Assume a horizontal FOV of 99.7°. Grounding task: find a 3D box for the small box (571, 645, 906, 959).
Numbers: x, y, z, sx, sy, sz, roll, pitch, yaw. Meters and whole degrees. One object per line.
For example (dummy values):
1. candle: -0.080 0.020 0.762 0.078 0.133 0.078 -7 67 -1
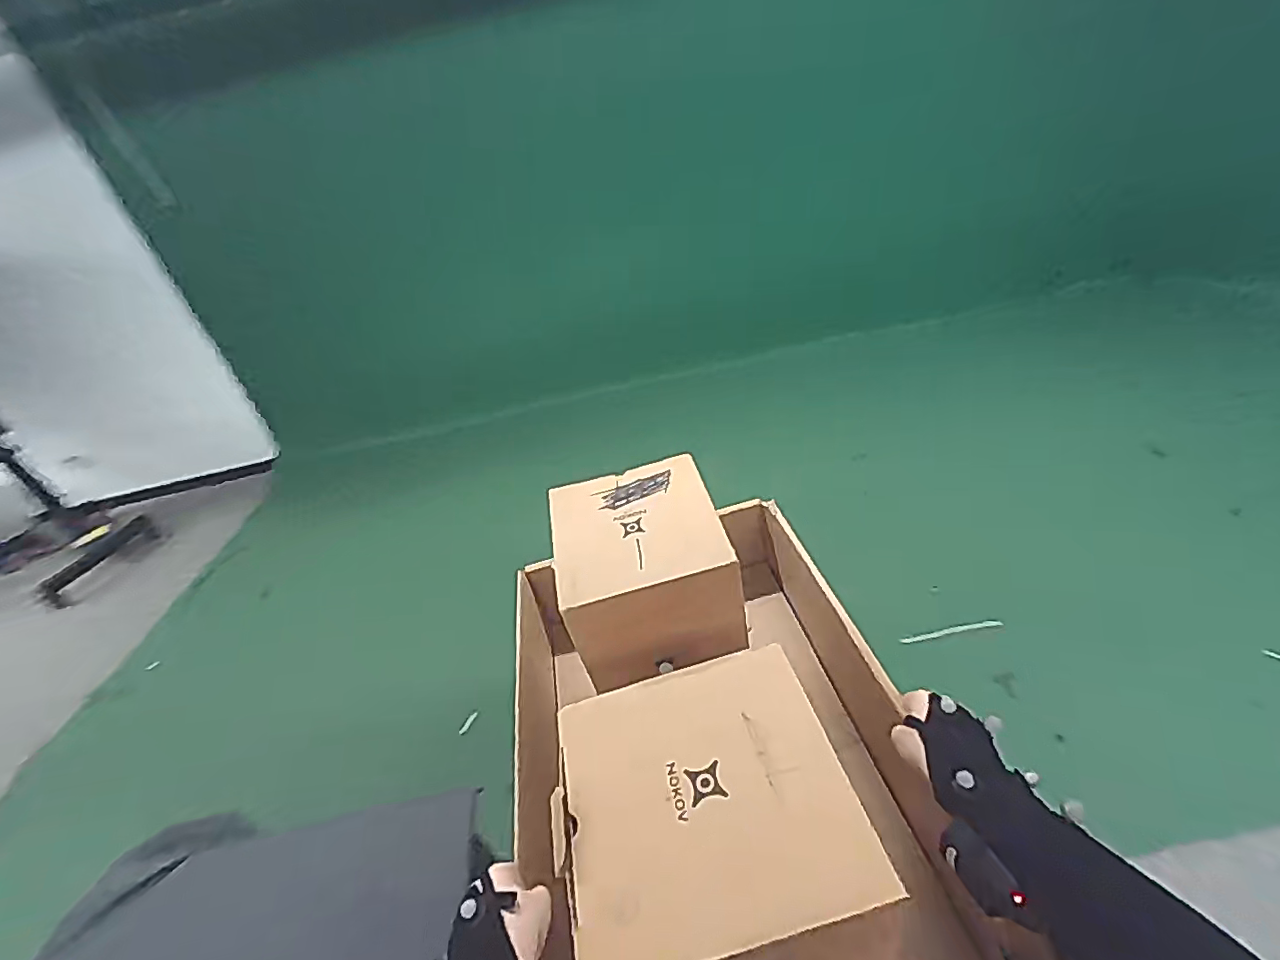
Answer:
1. small box: 0.061 0.256 0.391 0.179 0.176 0.168 -15 37 -2
